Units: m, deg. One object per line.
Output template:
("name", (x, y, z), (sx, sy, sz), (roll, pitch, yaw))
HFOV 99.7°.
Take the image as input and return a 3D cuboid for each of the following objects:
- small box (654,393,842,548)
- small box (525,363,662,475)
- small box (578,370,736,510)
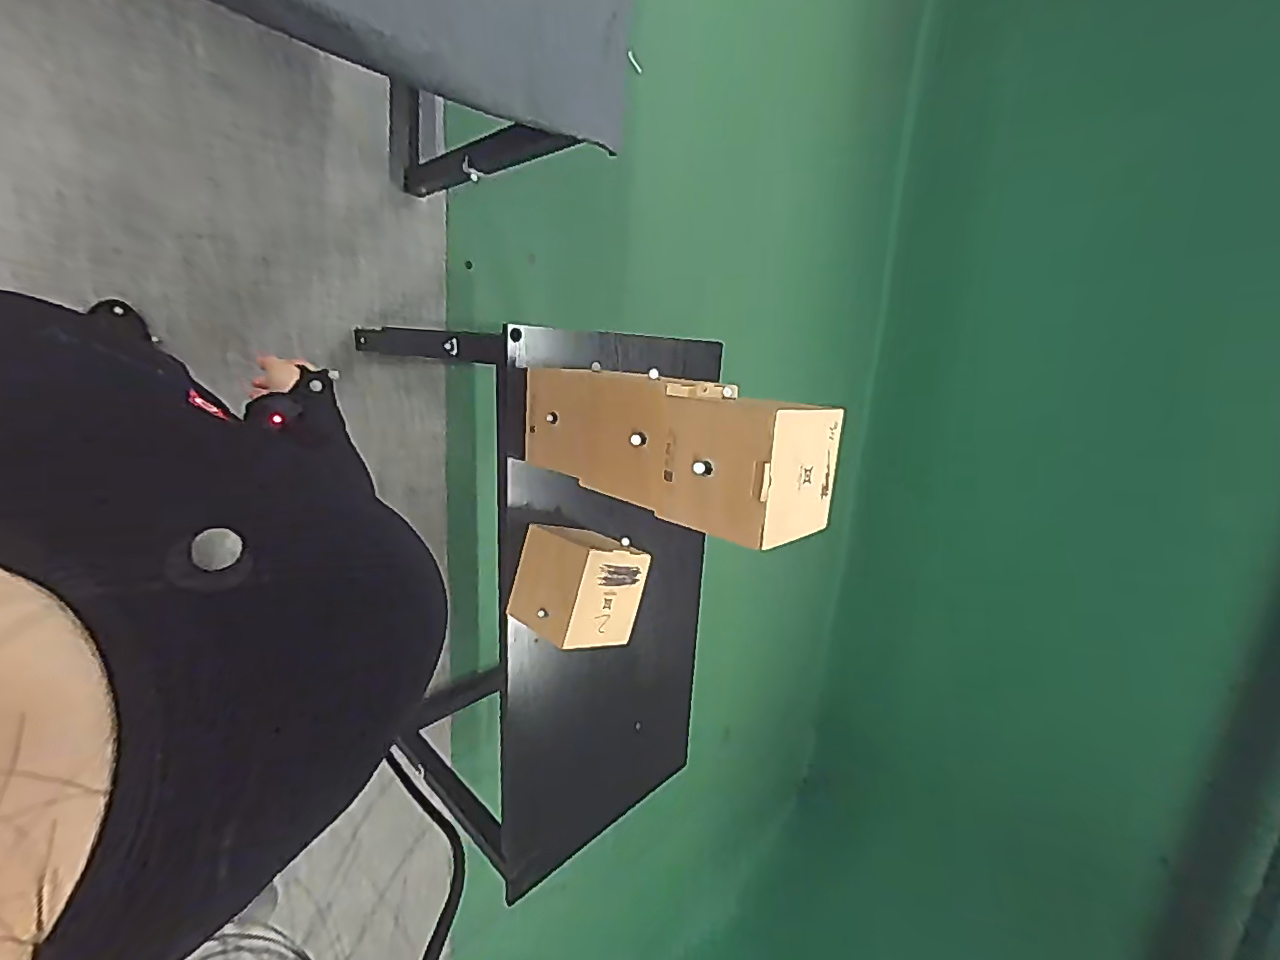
("small box", (0.137, -0.023, 0.712), (0.179, 0.176, 0.168), (-7, 107, -45))
("small box", (-0.083, -0.111, 0.937), (0.179, 0.176, 0.168), (-10, 110, -46))
("small box", (0.021, -0.068, 0.819), (0.168, 0.176, 0.179), (-9, 109, -45))
